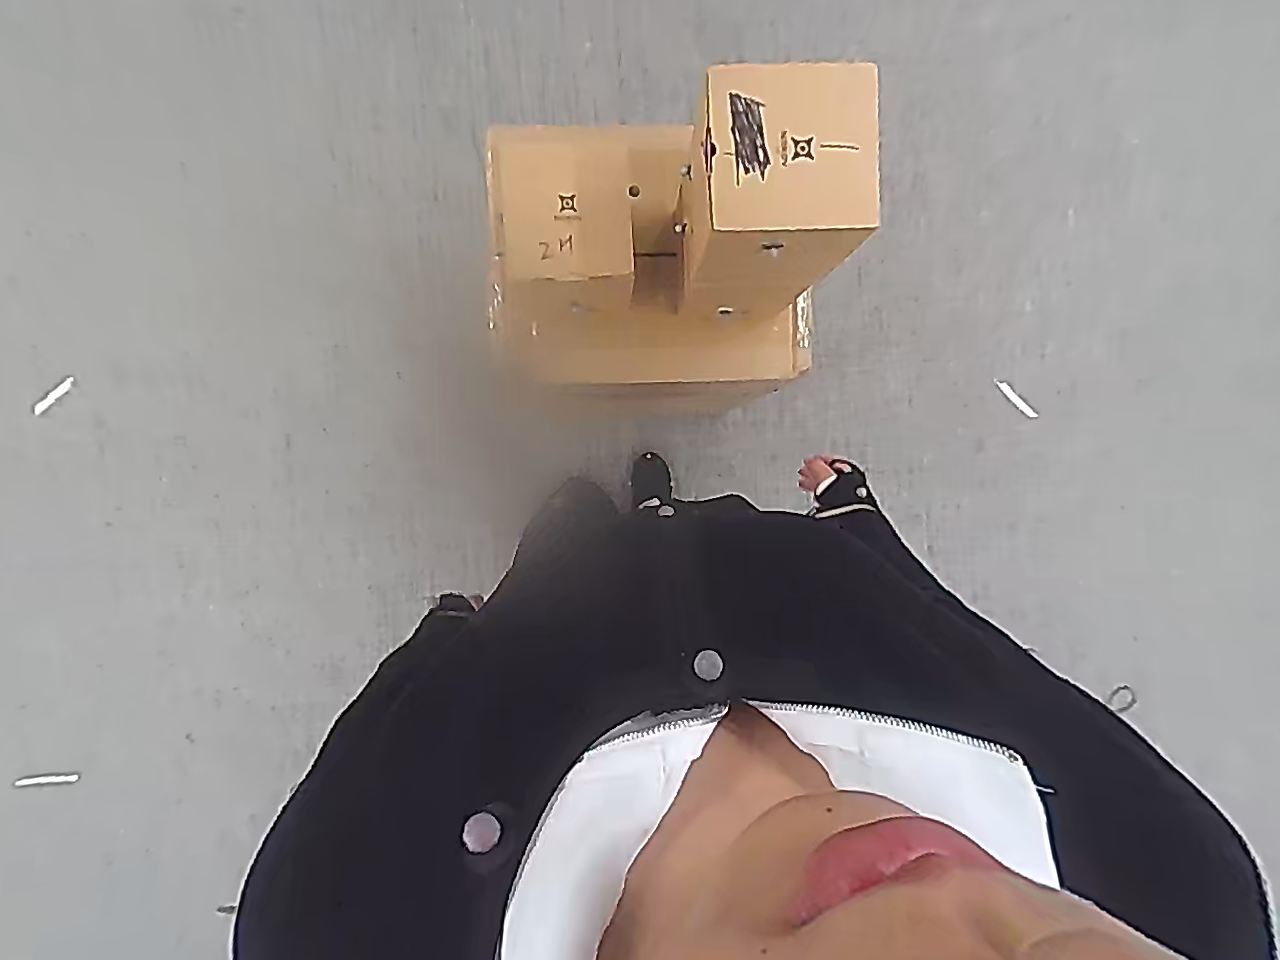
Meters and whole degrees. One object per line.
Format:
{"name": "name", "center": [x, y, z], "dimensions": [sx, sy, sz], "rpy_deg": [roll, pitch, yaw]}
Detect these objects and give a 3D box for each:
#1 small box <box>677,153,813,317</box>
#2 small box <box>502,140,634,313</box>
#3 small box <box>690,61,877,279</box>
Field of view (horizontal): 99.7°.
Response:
{"name": "small box", "center": [0.144, -0.349, 0.793], "dimensions": [0.168, 0.176, 0.179], "rpy_deg": [-2, 94, -1]}
{"name": "small box", "center": [-0.099, -0.353, 0.778], "dimensions": [0.168, 0.176, 0.179], "rpy_deg": [-4, 93, -4]}
{"name": "small box", "center": [0.152, -0.343, 0.628], "dimensions": [0.179, 0.176, 0.168], "rpy_deg": [-2, 92, -2]}
